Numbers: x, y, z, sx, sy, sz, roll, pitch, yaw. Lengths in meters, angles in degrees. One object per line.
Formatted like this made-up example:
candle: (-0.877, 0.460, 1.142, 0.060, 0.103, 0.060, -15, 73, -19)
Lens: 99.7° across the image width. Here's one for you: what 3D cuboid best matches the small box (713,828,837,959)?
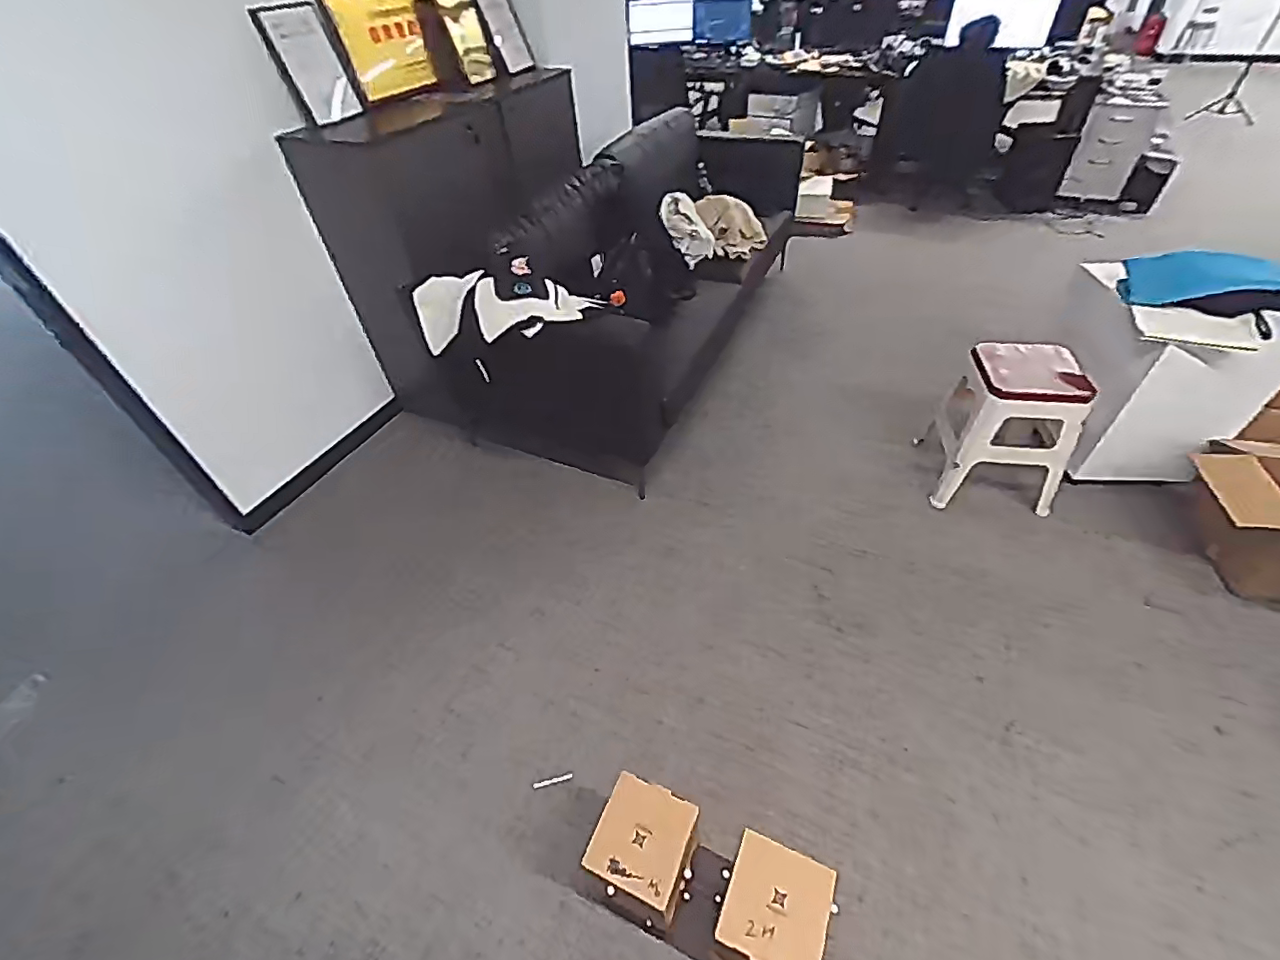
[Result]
small box: (0.234, 0.772, 0.963, 0.168, 0.176, 0.179, 17, 47, 21)
